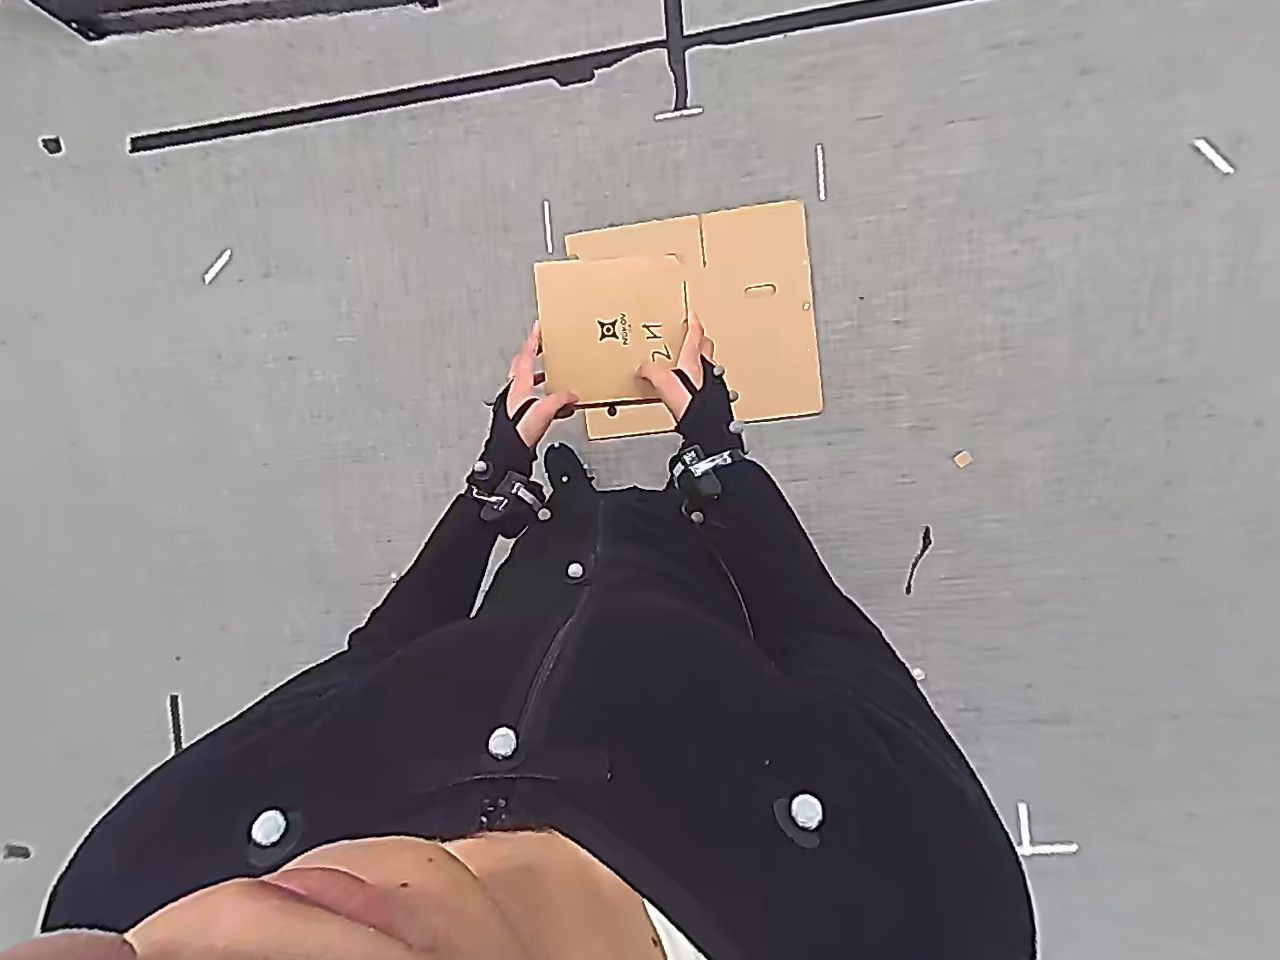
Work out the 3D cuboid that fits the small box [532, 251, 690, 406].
[{"bbox_3d":[-0.037,-0.186,0.705,0.179,0.176,0.168,-5,97,-5],"label":"small box"}]
